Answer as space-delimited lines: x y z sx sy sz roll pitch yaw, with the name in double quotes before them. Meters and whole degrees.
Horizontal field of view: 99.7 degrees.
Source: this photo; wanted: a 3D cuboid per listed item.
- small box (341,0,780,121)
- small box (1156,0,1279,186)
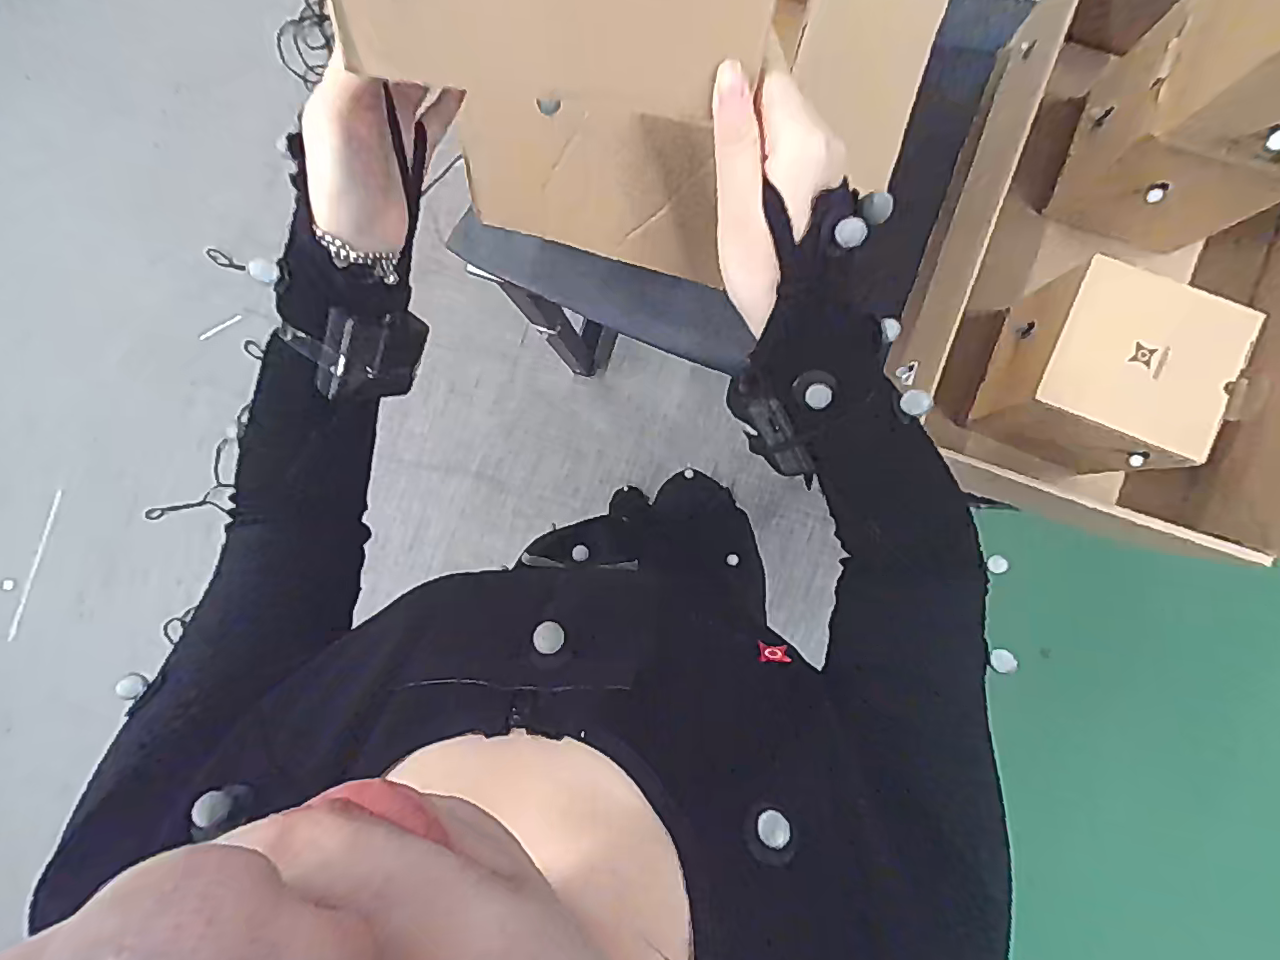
"small box" -0.030 -0.283 0.232 0.179 0.168 0.176 0 50 -9
"small box" 0.613 -0.398 0.463 0.168 0.176 0.179 20 92 4
